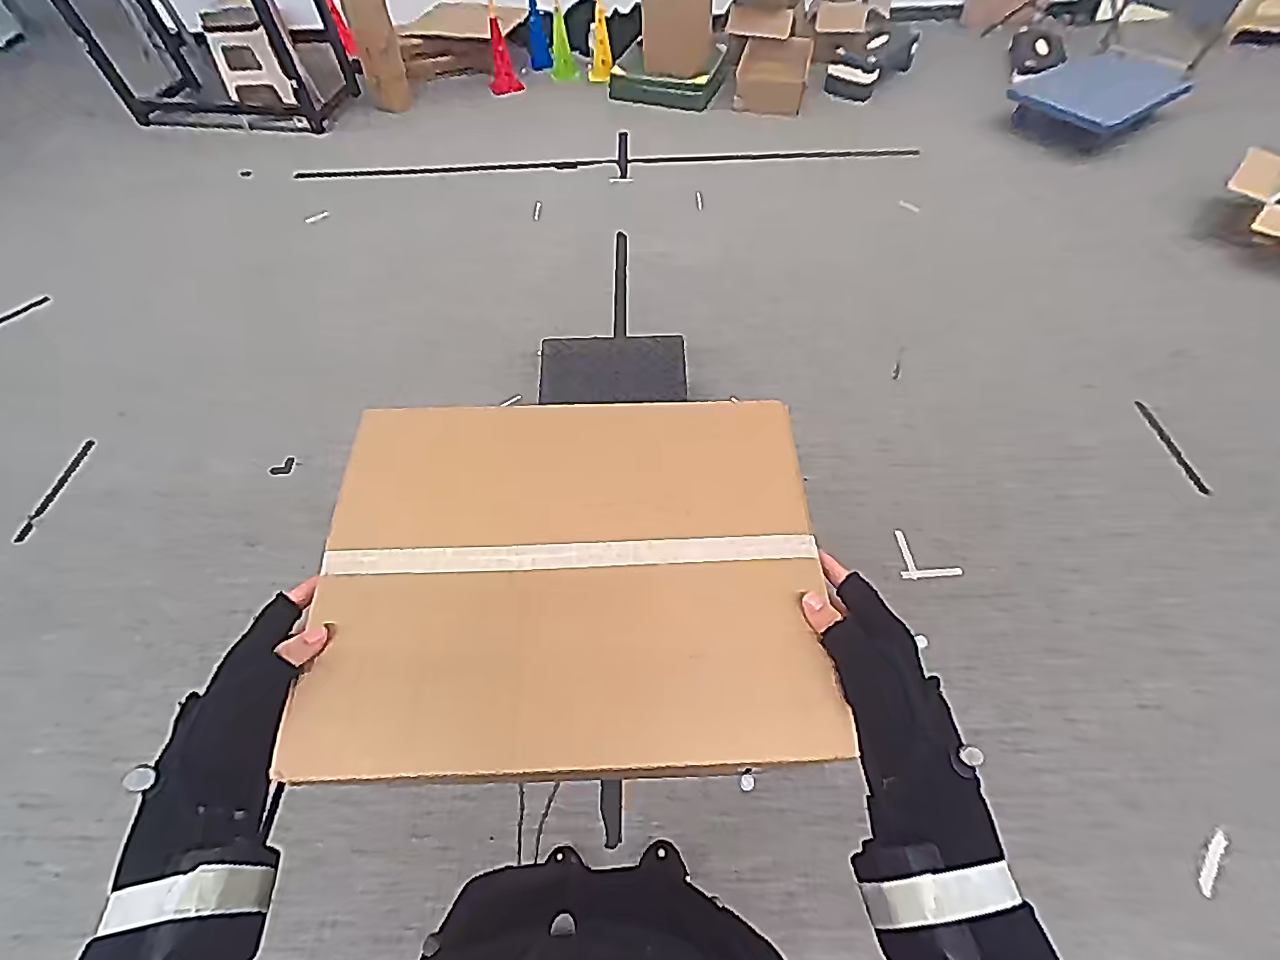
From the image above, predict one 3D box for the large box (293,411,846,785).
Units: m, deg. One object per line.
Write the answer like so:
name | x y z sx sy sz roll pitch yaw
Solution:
large box | -0.055 0.142 0.586 0.408 0.320 0.320 -1 60 -2
